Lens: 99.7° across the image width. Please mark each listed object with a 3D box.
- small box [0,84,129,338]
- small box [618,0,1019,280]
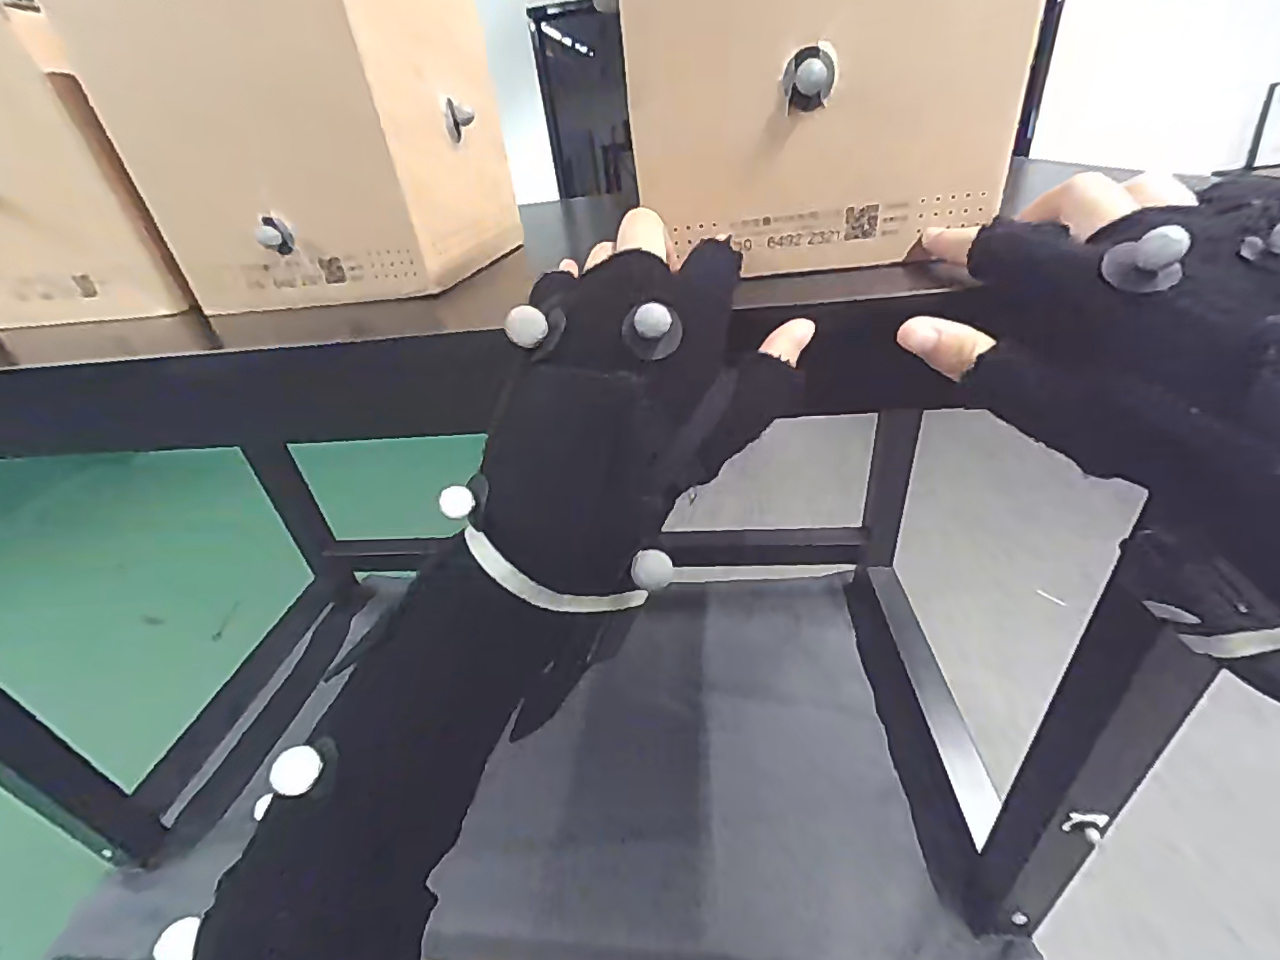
[{"bbox_3d":[-0.582,-0.210,0.438,0.168,0.176,0.179,-1,34,10],"label":"small box"},{"bbox_3d":[0.086,-0.215,0.301,0.168,0.176,0.179,-1,33,9],"label":"small box"}]
